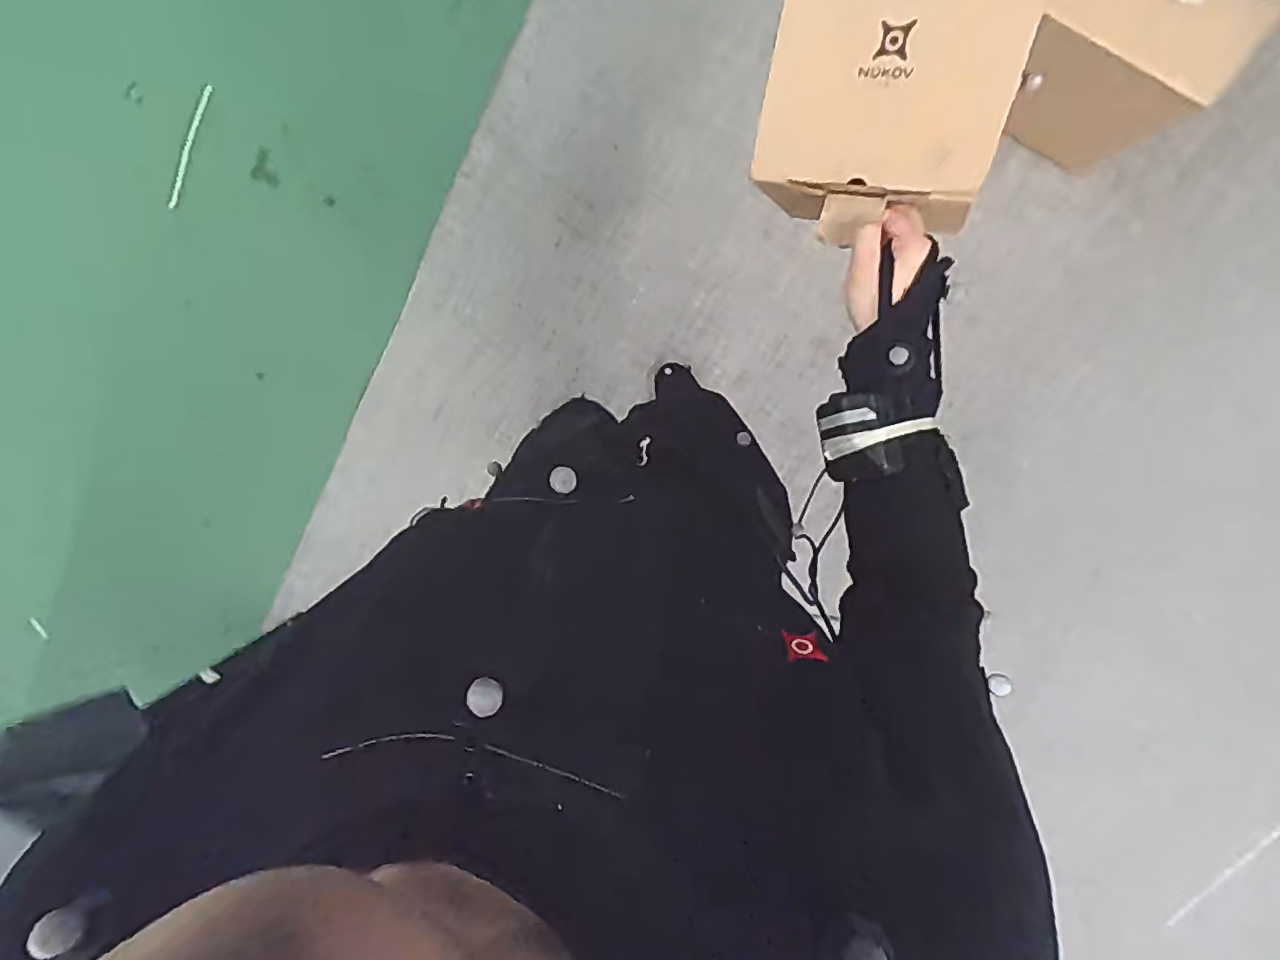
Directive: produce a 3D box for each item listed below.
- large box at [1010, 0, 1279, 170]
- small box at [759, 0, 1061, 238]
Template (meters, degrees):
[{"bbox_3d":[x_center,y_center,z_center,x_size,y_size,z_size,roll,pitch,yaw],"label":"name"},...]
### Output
[{"bbox_3d":[0.756,-0.813,0.913,0.408,0.320,0.320,30,106,0],"label":"large box"},{"bbox_3d":[0.213,-0.306,0.436,0.168,0.176,0.179,18,110,21],"label":"small box"}]
